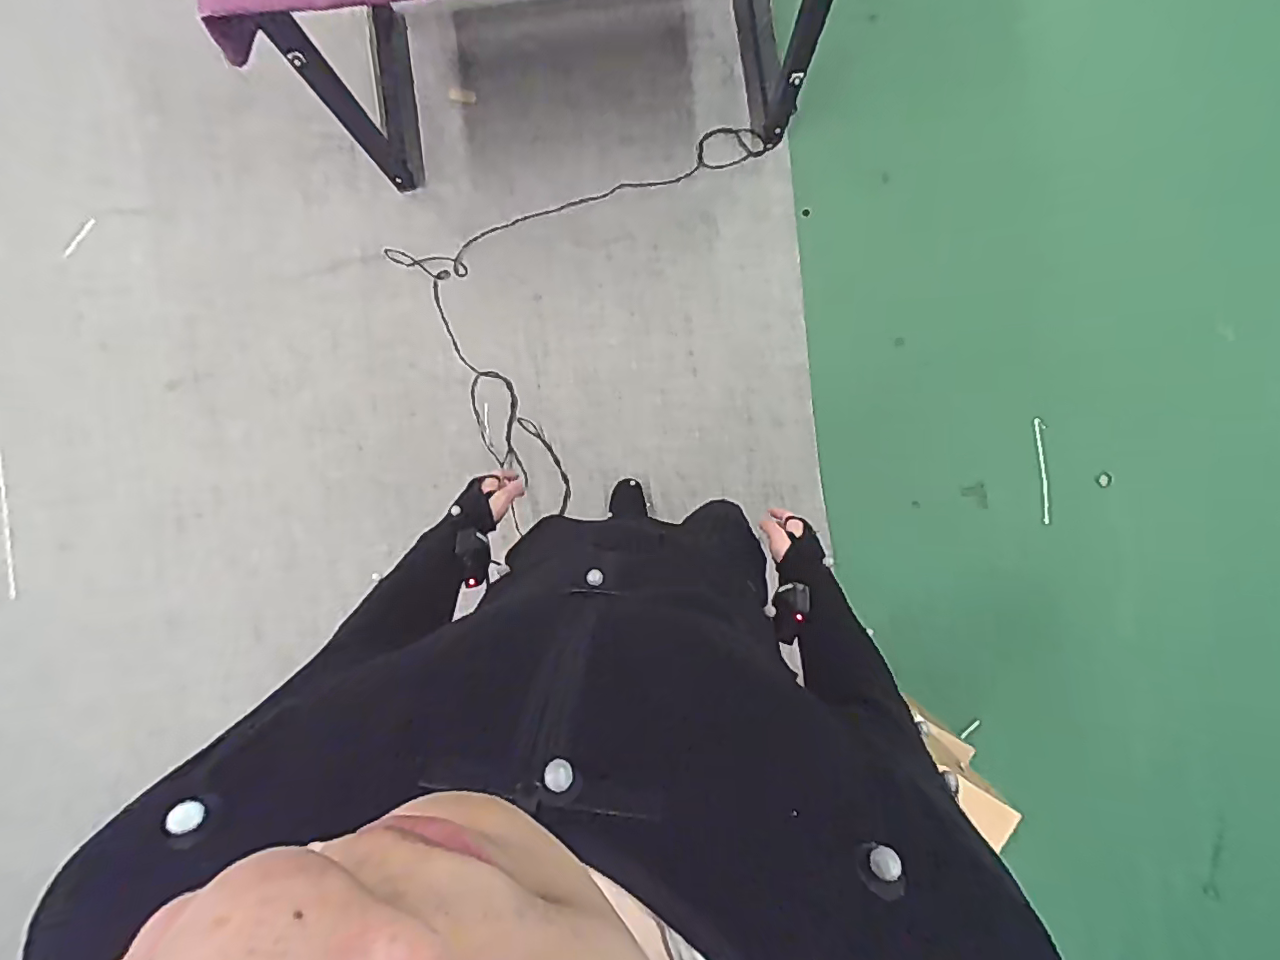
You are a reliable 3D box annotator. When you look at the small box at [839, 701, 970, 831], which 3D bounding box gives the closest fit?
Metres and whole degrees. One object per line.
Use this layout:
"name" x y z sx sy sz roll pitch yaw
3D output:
"small box" 0.584 0.631 1.224 0.179 0.176 0.168 33 91 1
